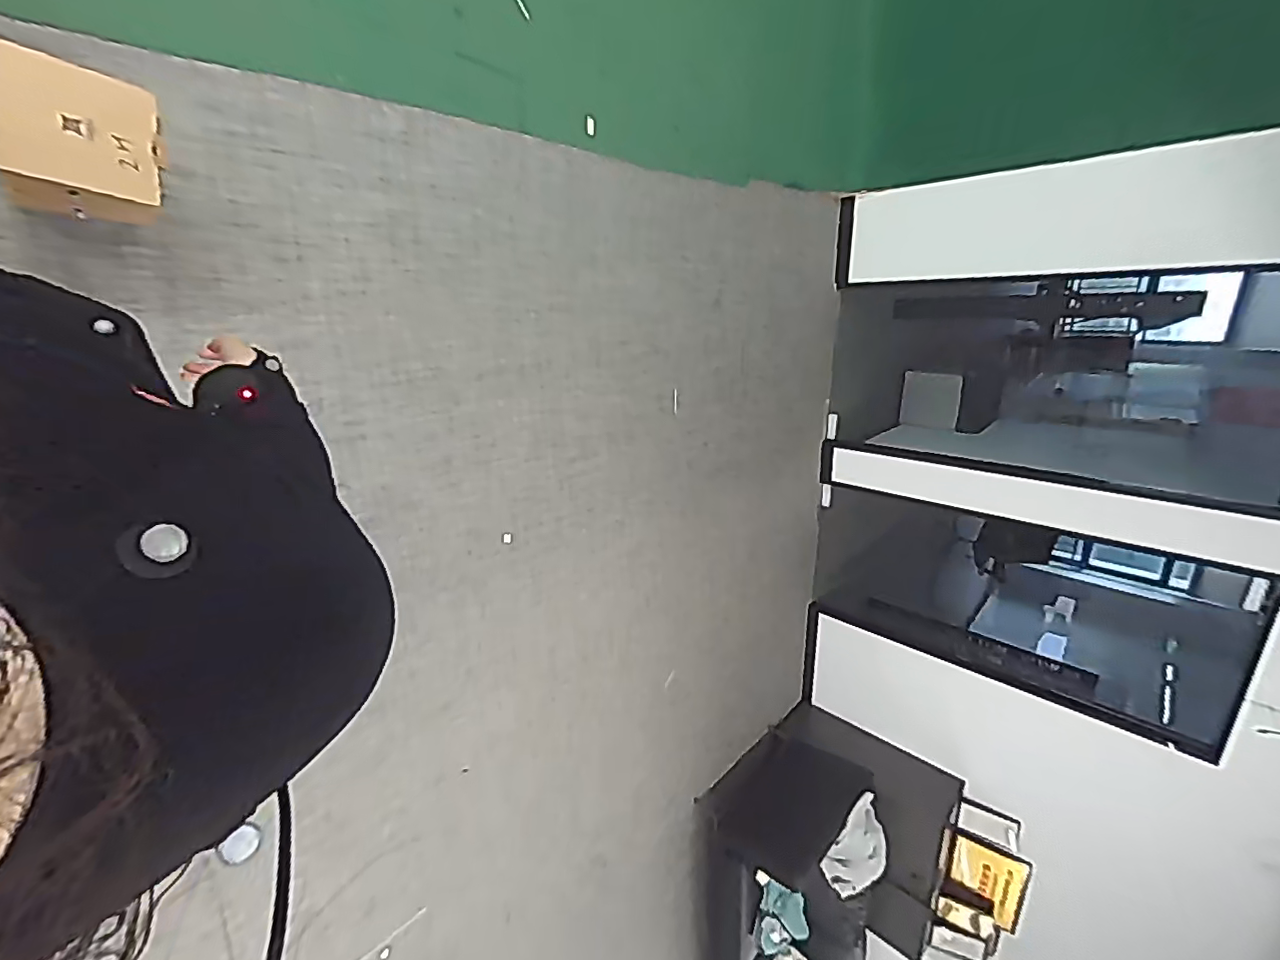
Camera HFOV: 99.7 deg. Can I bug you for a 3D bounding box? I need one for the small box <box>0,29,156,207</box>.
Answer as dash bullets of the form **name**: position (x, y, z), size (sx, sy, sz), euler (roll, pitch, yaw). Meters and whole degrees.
- **small box**: position (-0.857, -0.528, 0.816), size (0.179, 0.176, 0.168), euler (-4, 106, -47)
